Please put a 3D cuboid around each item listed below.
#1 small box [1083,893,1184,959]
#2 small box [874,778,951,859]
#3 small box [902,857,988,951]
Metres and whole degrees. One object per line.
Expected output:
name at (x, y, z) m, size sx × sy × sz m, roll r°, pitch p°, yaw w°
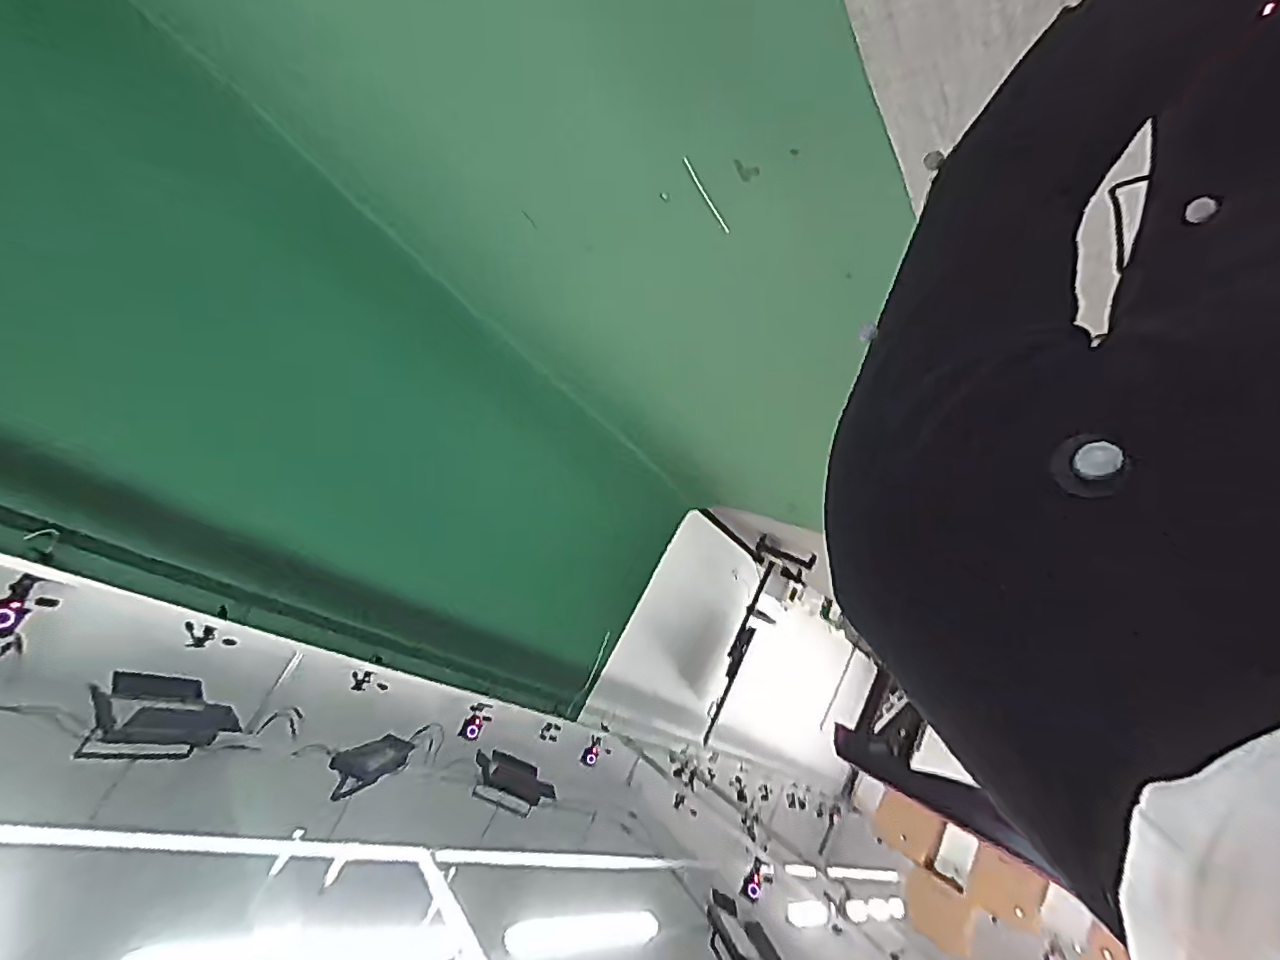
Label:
small box at (1.290, 1.228, 1.418) m, size 0.168 × 0.176 × 0.179 m, roll 16°, pitch 164°, yaw 46°
small box at (0.926, 1.136, 1.823) m, size 0.179 × 0.176 × 0.168 m, roll 14°, pitch 163°, yaw 47°
small box at (0.950, 1.303, 1.681) m, size 0.179 × 0.176 × 0.168 m, roll 16°, pitch 164°, yaw 45°
